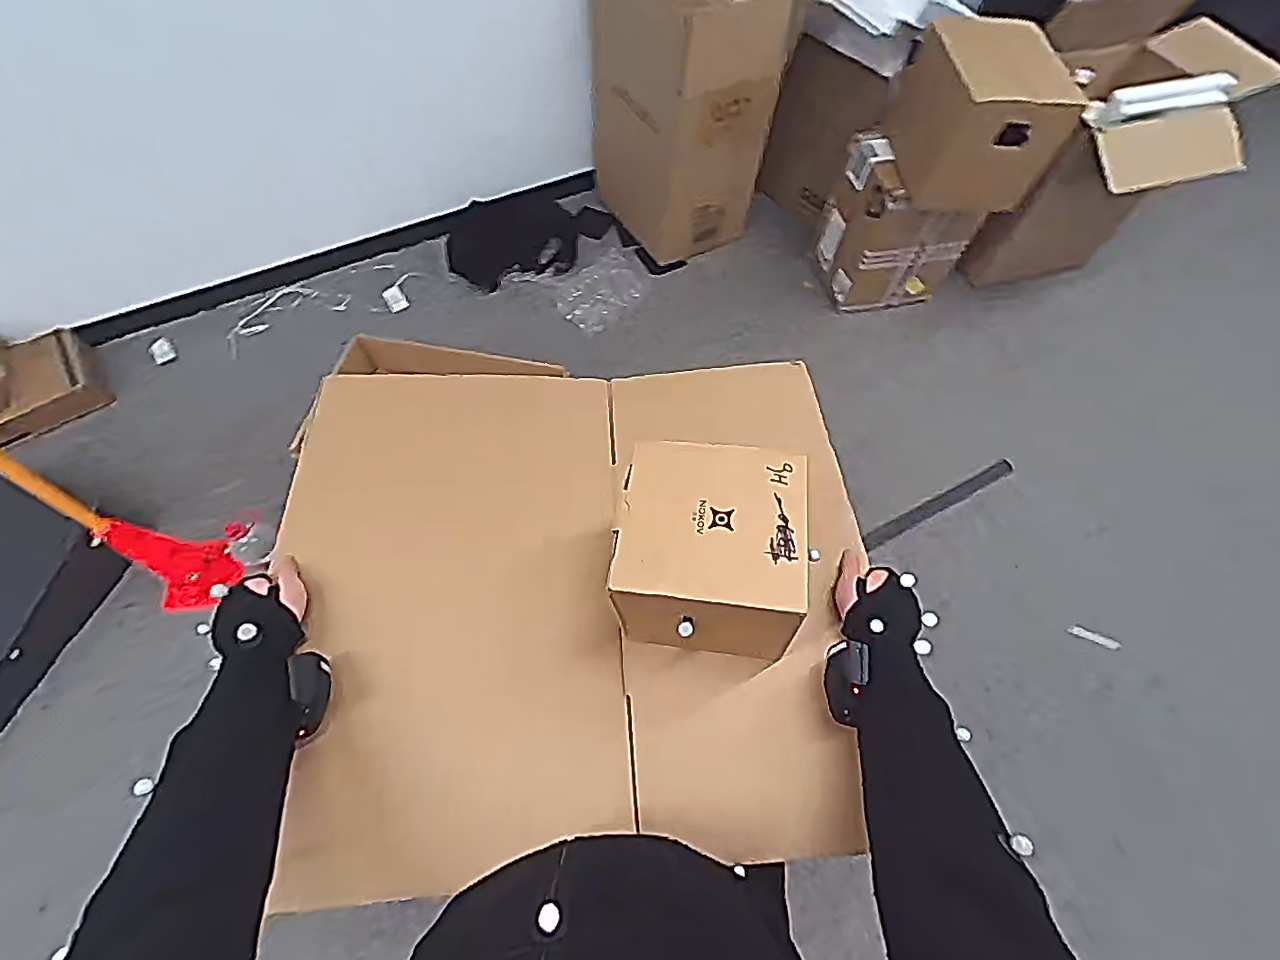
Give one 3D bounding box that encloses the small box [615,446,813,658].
[{"bbox_3d":[0.083,0.082,0.582,0.179,0.176,0.168,5,59,10],"label":"small box"}]
